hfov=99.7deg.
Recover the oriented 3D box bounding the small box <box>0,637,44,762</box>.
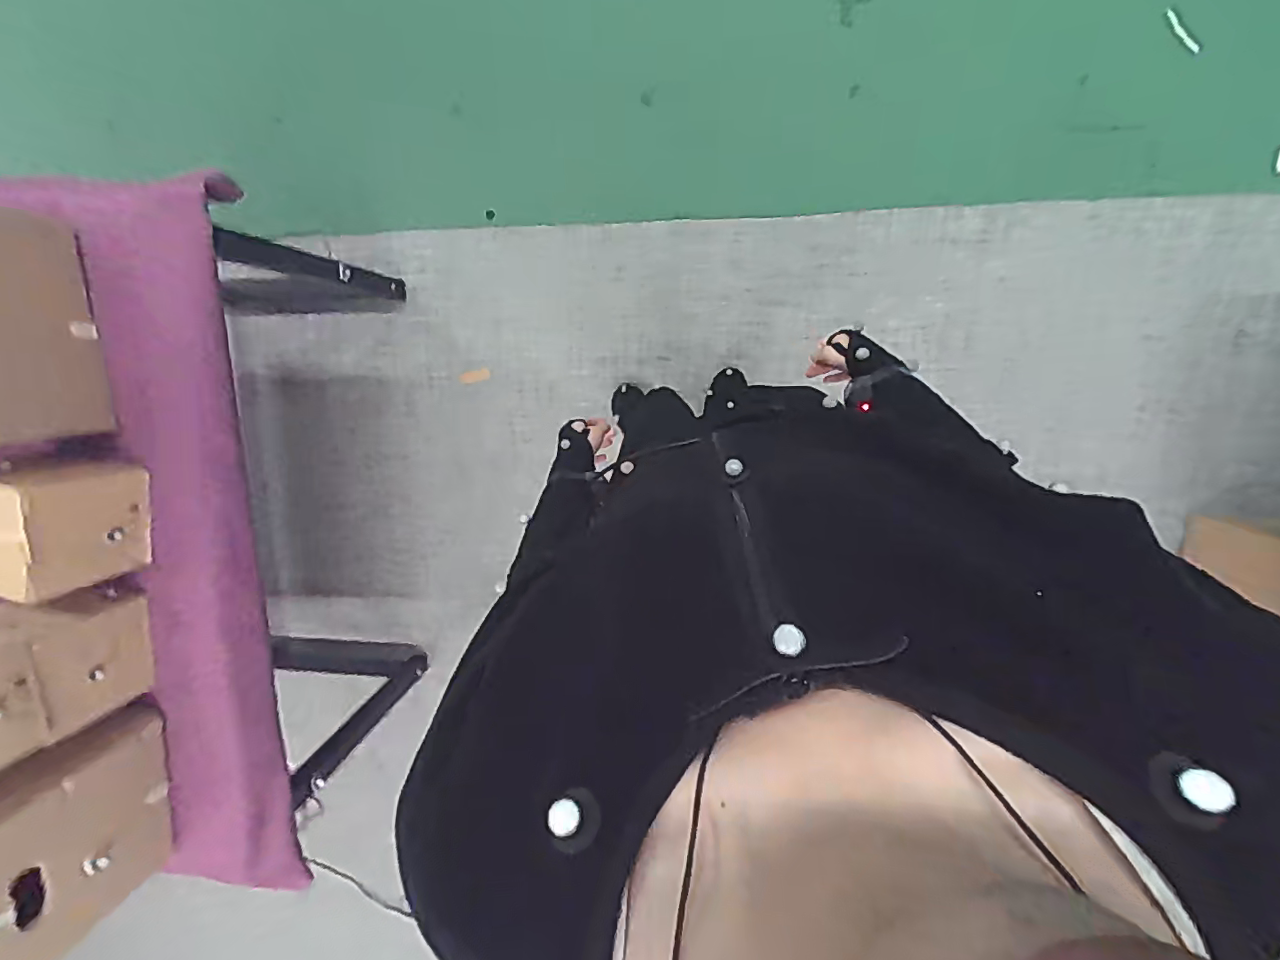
[{"bbox_3d":[-0.944,0.308,0.692,0.179,0.176,0.168,2,101,6],"label":"small box"}]

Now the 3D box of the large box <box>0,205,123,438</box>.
[{"bbox_3d":[-1.037,-0.206,0.709,0.408,0.320,0.320,1,103,6],"label":"large box"}]
